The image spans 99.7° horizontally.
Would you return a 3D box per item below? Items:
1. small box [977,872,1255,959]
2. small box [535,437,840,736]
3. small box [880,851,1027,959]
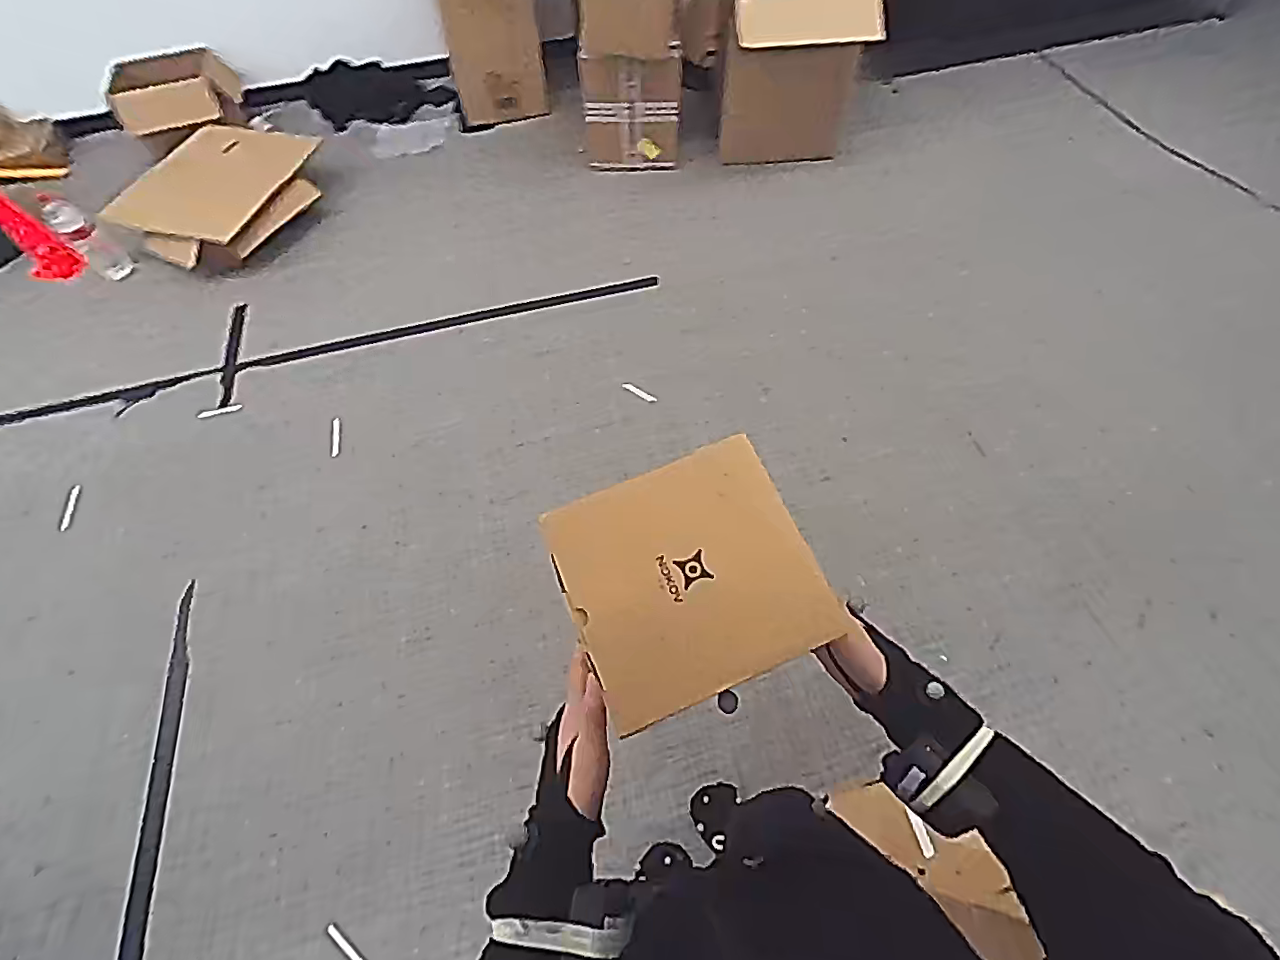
[{"bbox_3d":[0.487,0.522,0.538,0.168,0.176,0.179,-11,60,-4],"label":"small box"},{"bbox_3d":[0.033,0.092,0.466,0.179,0.176,0.168,-24,72,-5],"label":"small box"},{"bbox_3d":[0.498,0.688,0.822,0.168,0.176,0.179,-15,62,-5],"label":"small box"}]
